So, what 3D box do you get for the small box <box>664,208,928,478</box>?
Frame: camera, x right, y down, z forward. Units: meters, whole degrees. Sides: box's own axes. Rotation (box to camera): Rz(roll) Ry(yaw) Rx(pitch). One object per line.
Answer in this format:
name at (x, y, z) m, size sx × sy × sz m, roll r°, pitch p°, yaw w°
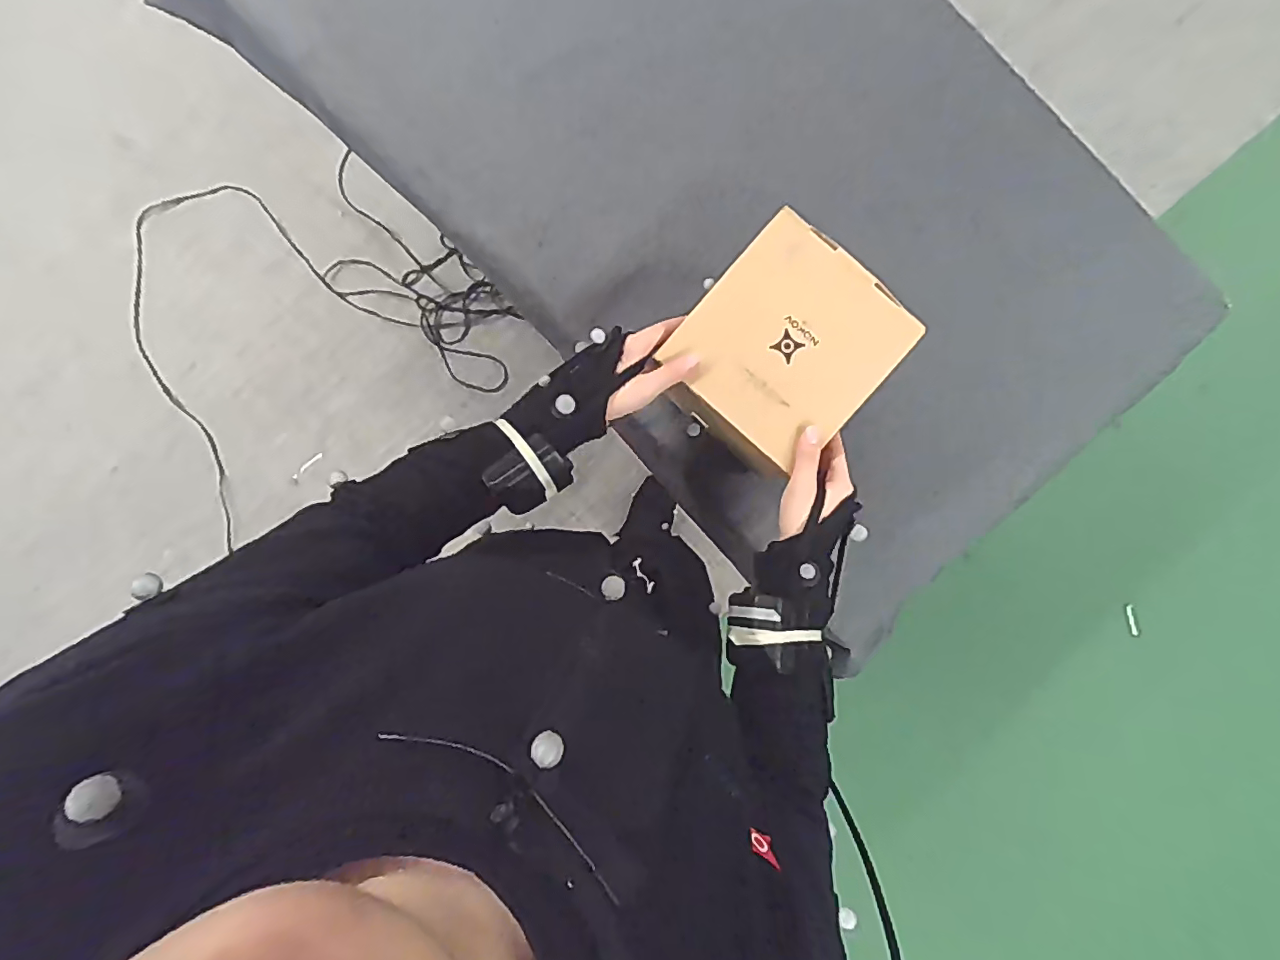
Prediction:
small box at (0.134, -0.121, 0.547) m, size 0.168 × 0.176 × 0.179 m, roll 40°, pitch 92°, yaw 0°
